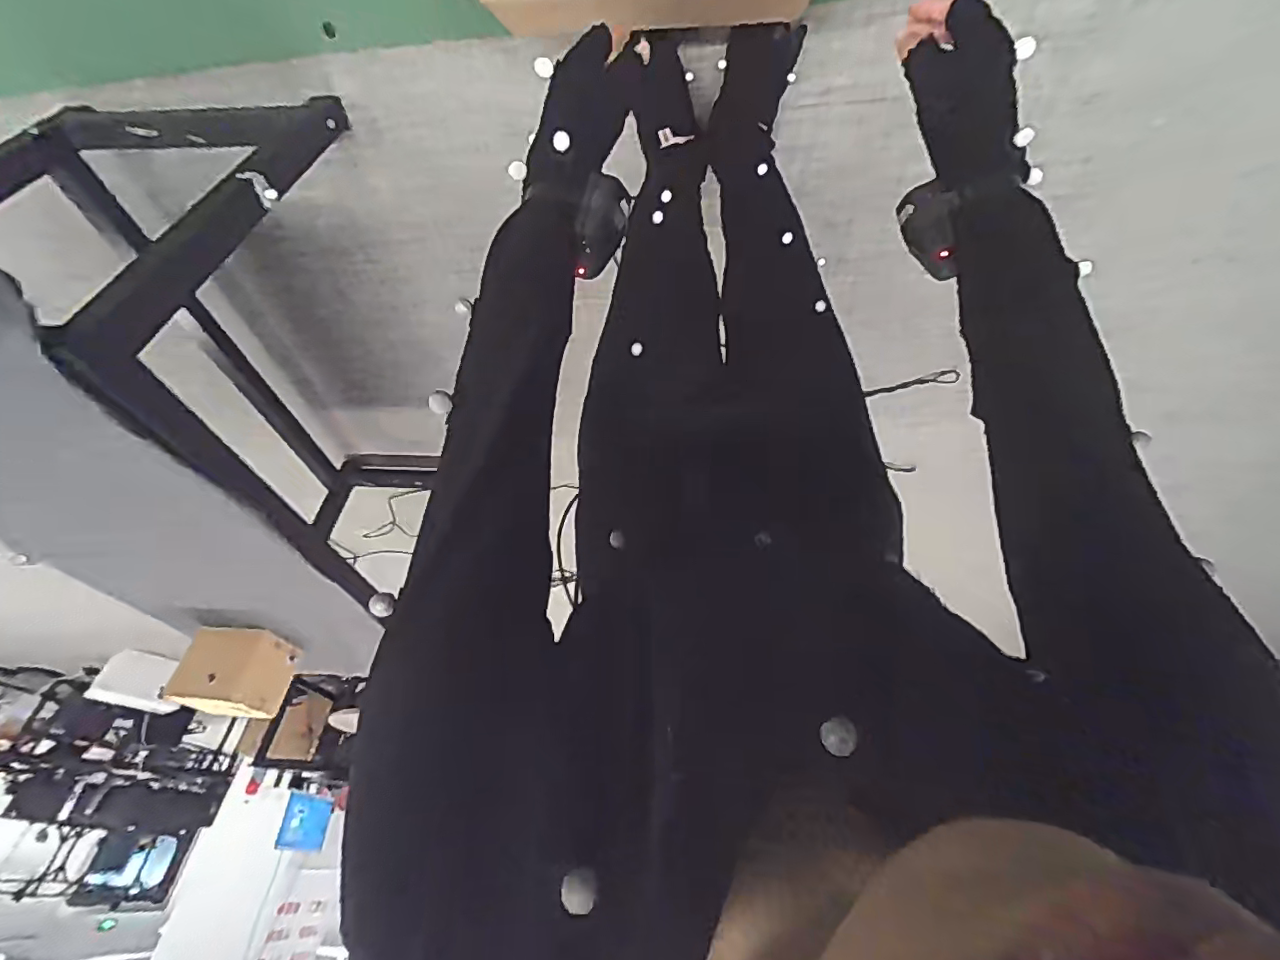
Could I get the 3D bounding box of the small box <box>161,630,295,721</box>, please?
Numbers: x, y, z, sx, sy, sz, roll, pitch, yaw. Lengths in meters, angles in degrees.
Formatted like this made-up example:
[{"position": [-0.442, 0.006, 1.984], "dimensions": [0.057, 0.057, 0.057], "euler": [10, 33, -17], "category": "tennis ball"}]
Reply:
[{"position": [-0.978, 0.474, 1.310], "dimensions": [0.179, 0.176, 0.168], "euler": [1, 144, 6], "category": "small box"}]
